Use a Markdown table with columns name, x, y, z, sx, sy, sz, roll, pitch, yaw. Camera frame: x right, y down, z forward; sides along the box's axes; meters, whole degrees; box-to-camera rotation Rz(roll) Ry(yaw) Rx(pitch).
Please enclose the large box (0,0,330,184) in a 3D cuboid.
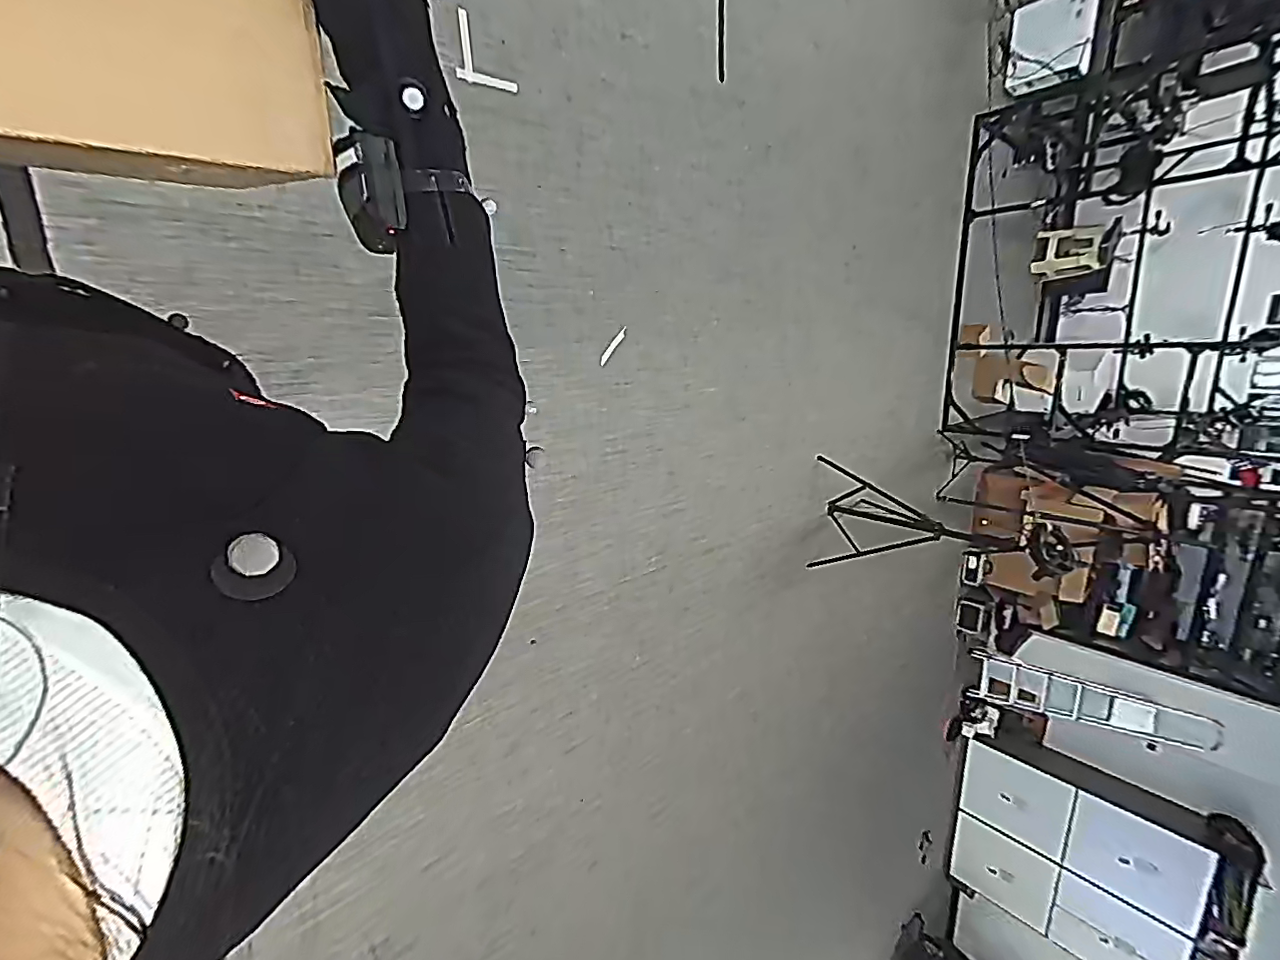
| name | x | y | z | sx | sy | sz | roll | pitch | yaw |
| --- | --- | --- | --- | --- | --- | --- | --- | --- | --- |
| large box | -0.454 | -0.355 | 0.287 | 0.408 | 0.320 | 0.320 | -18 | 122 | -41 |
